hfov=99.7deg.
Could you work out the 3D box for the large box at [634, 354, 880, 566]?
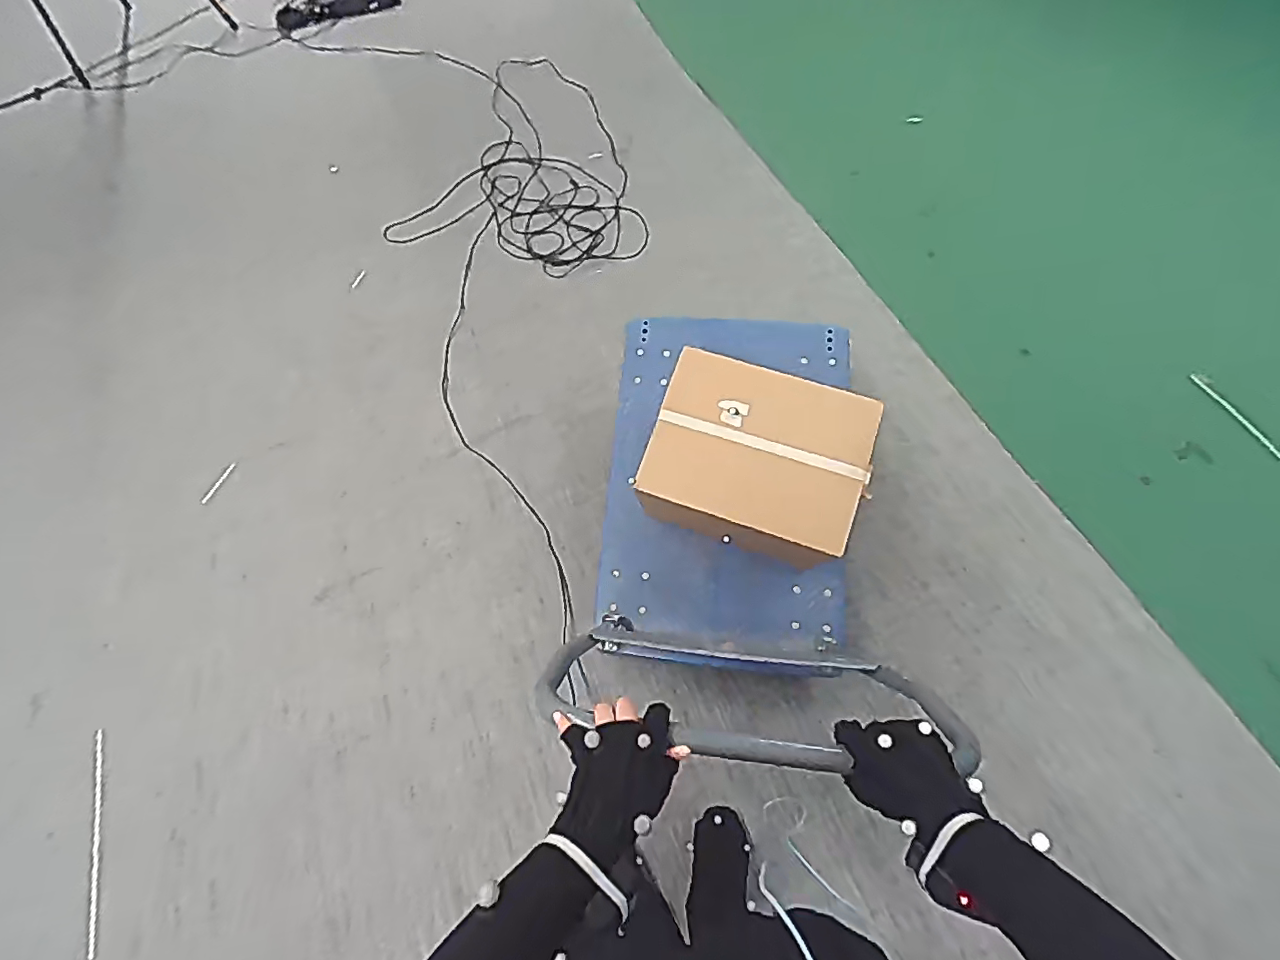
[{"bbox_3d":[0.240,-0.025,1.173,0.408,0.320,0.320,19,79,10],"label":"large box"}]
